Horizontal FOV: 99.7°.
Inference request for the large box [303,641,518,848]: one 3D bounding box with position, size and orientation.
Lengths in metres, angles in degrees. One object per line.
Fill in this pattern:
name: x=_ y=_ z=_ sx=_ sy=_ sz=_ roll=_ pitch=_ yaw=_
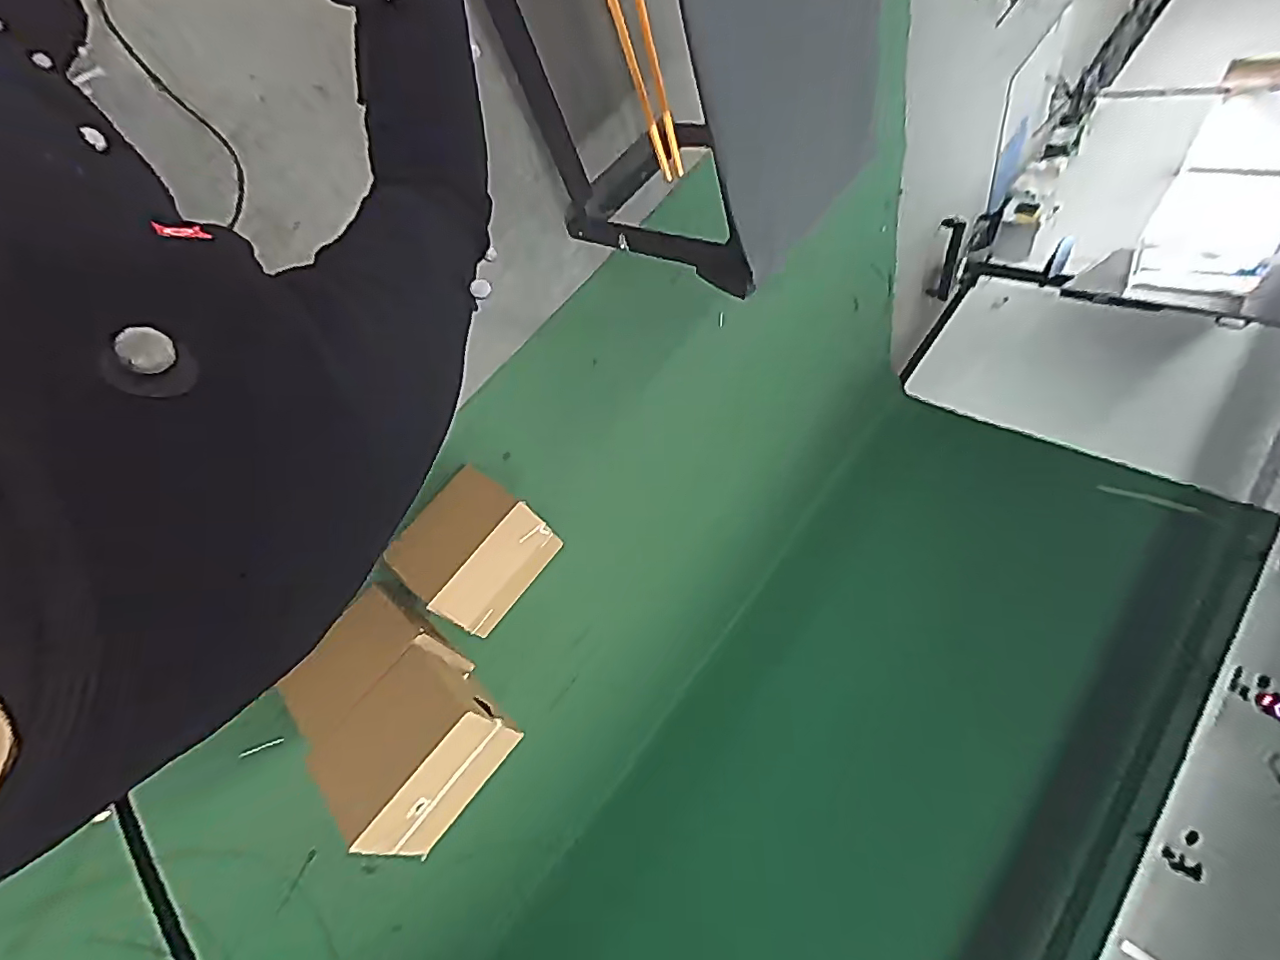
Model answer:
large box: x=-0.639 y=0.743 z=1.537 sx=0.408 sy=0.320 sz=0.320 roll=-48 pitch=142 yaw=-15
